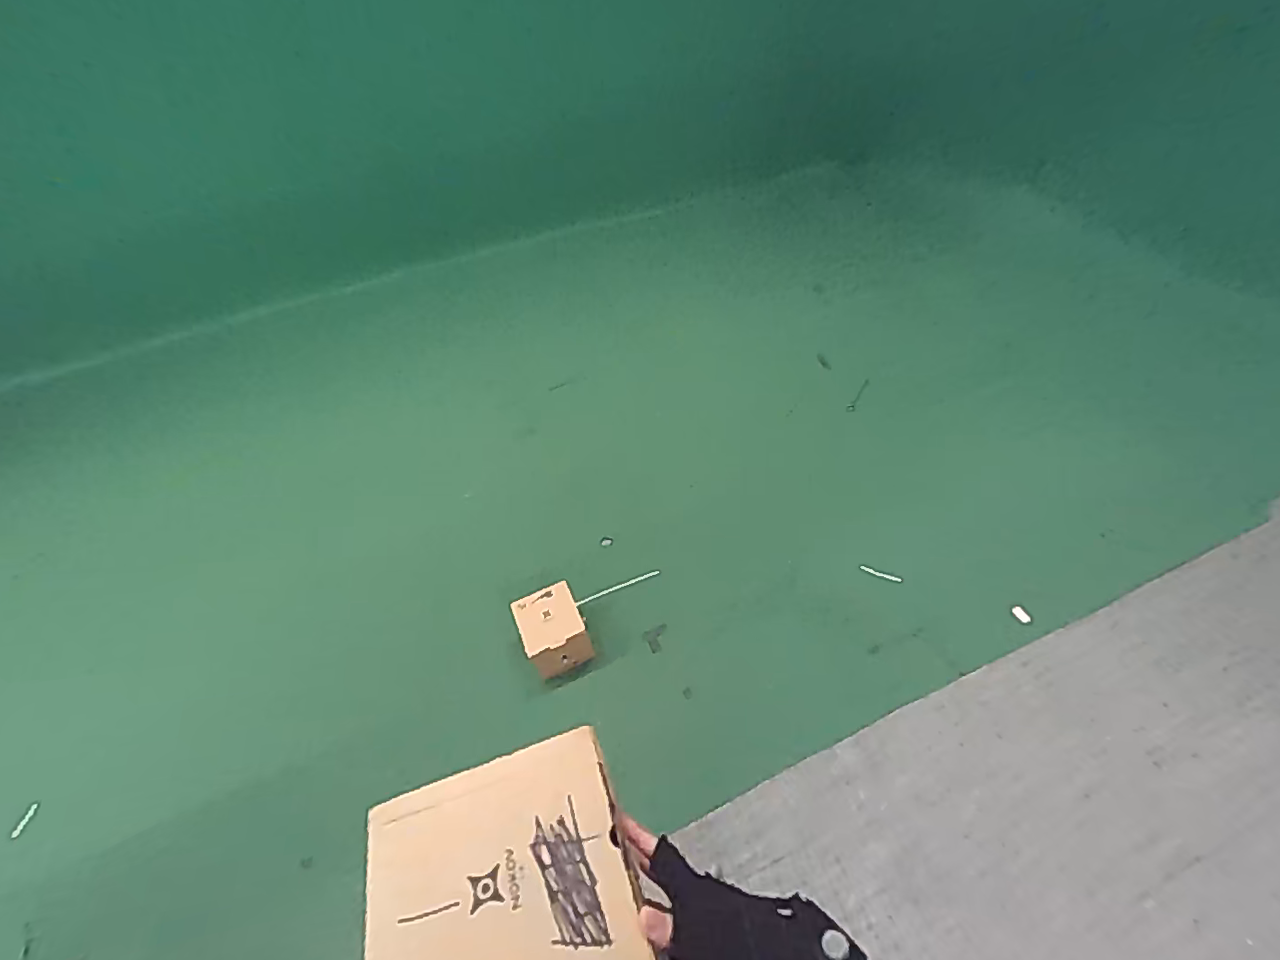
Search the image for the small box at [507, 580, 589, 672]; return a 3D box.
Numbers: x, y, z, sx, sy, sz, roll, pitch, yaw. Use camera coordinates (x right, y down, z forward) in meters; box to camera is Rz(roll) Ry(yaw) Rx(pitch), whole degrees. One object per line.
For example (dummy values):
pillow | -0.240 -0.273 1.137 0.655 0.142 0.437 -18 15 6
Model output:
small box | -0.253 0.417 1.517 0.168 0.176 0.179 -21 52 -12
